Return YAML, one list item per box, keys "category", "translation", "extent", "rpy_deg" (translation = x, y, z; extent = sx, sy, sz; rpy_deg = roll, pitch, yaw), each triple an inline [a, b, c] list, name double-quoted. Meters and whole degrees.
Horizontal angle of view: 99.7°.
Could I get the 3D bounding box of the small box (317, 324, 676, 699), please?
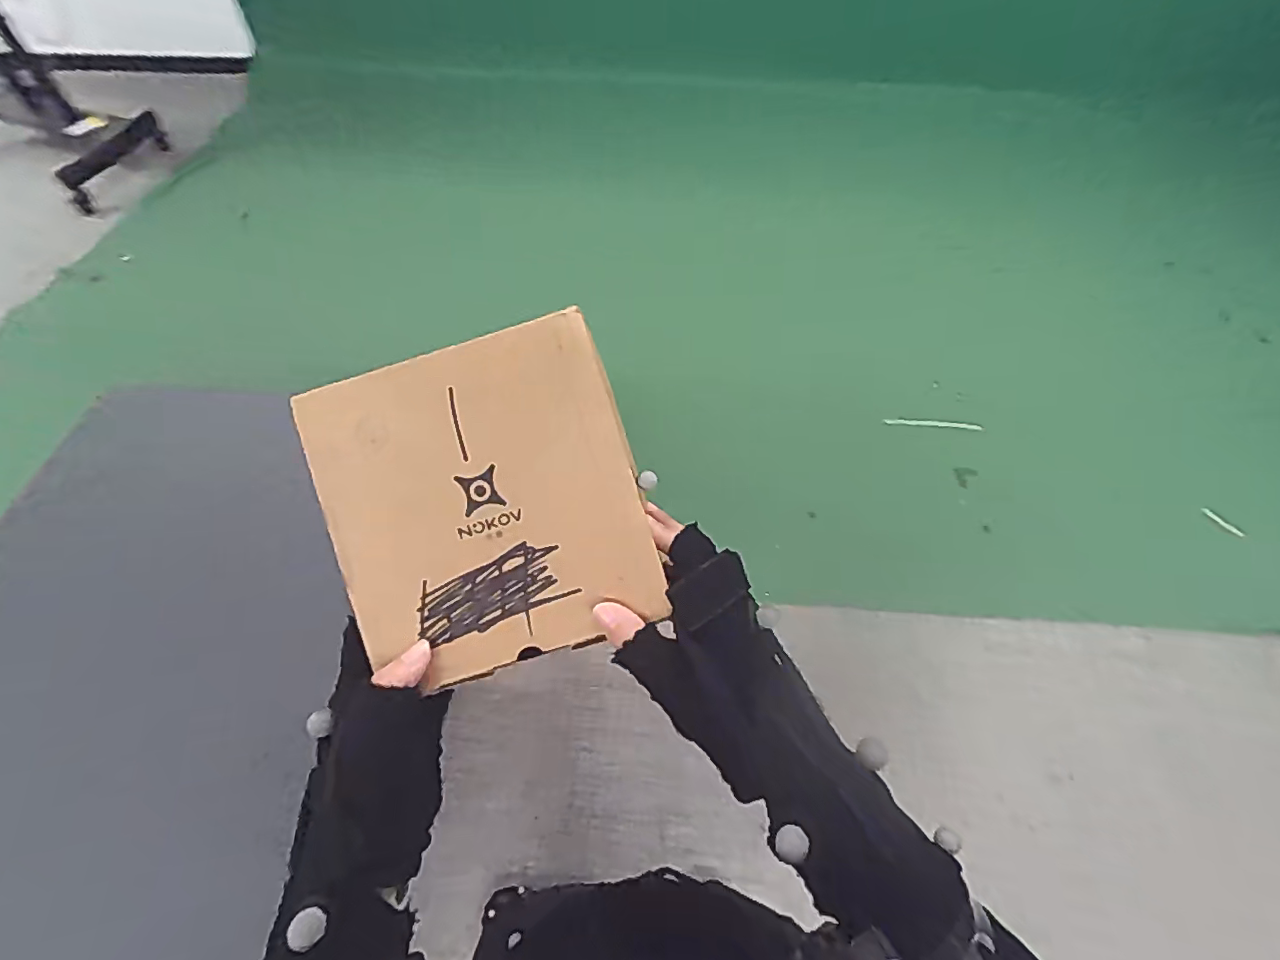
- category: "small box"
  translation: [-0.077, 0.018, 0.377]
  extent: [0.168, 0.176, 0.179]
  rpy_deg: [-16, 89, 1]
